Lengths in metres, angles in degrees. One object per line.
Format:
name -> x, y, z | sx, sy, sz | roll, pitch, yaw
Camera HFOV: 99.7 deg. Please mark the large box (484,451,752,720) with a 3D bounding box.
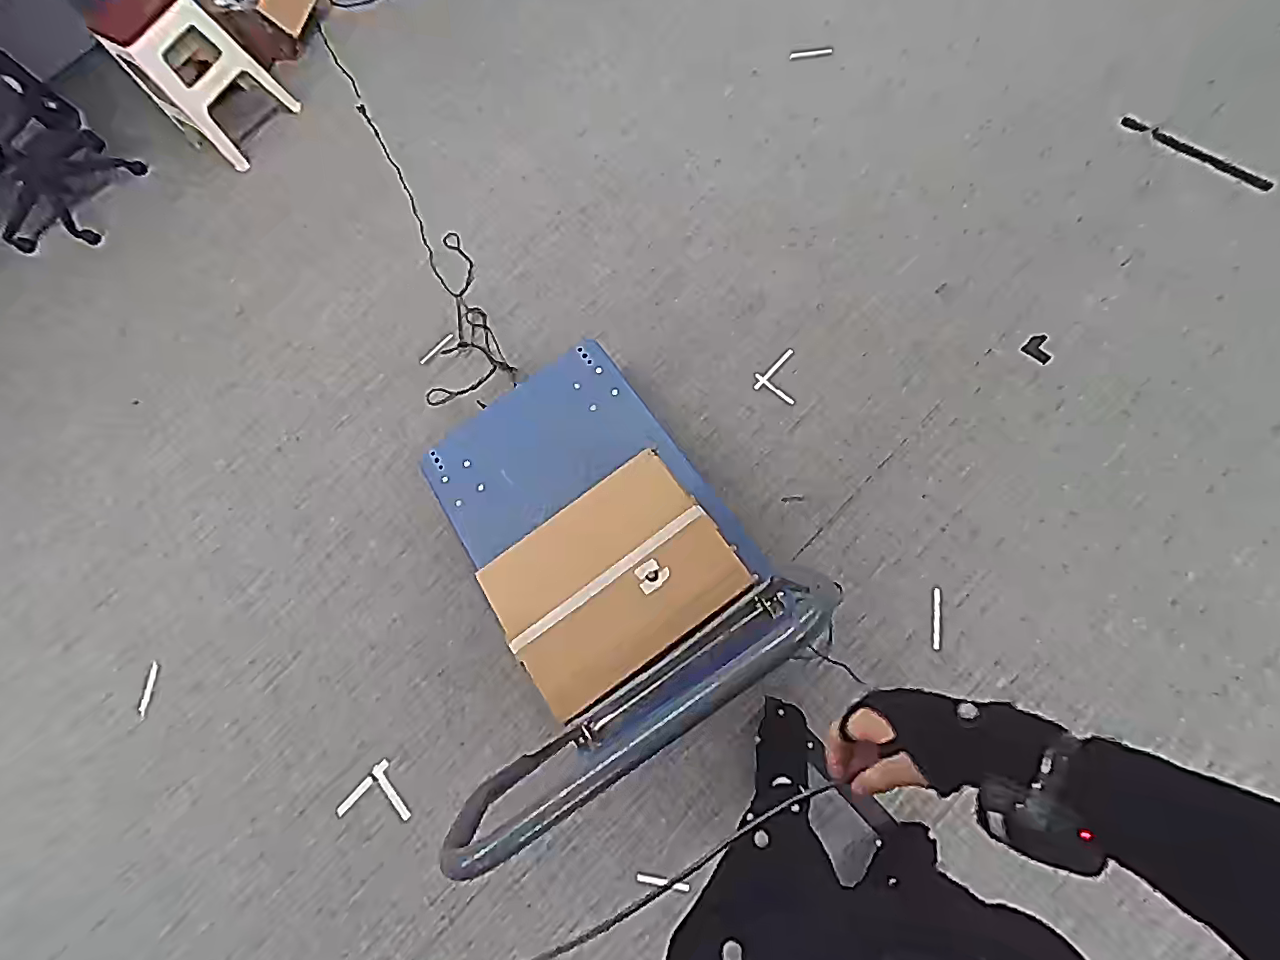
large box -> -0.026, 0.220, 1.098 | 0.408, 0.320, 0.320 | -36, 70, -2
